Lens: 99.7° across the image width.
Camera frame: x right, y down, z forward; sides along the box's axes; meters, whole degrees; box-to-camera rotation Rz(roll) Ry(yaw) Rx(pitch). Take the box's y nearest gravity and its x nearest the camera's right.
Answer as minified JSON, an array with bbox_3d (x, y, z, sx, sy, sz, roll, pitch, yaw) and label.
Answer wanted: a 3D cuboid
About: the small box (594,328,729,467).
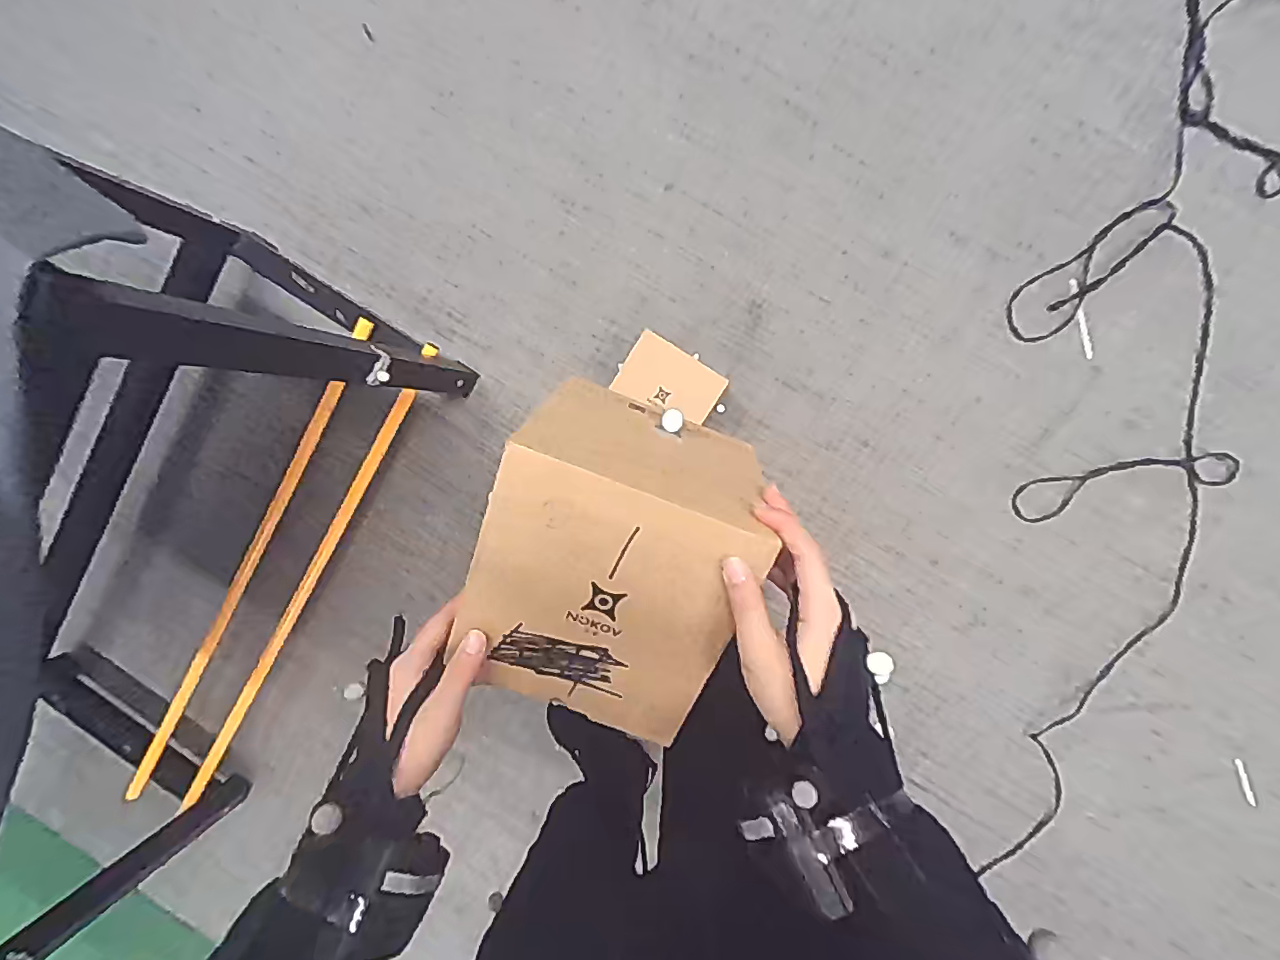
[{"bbox_3d":[0.043,-0.144,0.973,0.168,0.176,0.179,34,99,4],"label":"small box"}]
